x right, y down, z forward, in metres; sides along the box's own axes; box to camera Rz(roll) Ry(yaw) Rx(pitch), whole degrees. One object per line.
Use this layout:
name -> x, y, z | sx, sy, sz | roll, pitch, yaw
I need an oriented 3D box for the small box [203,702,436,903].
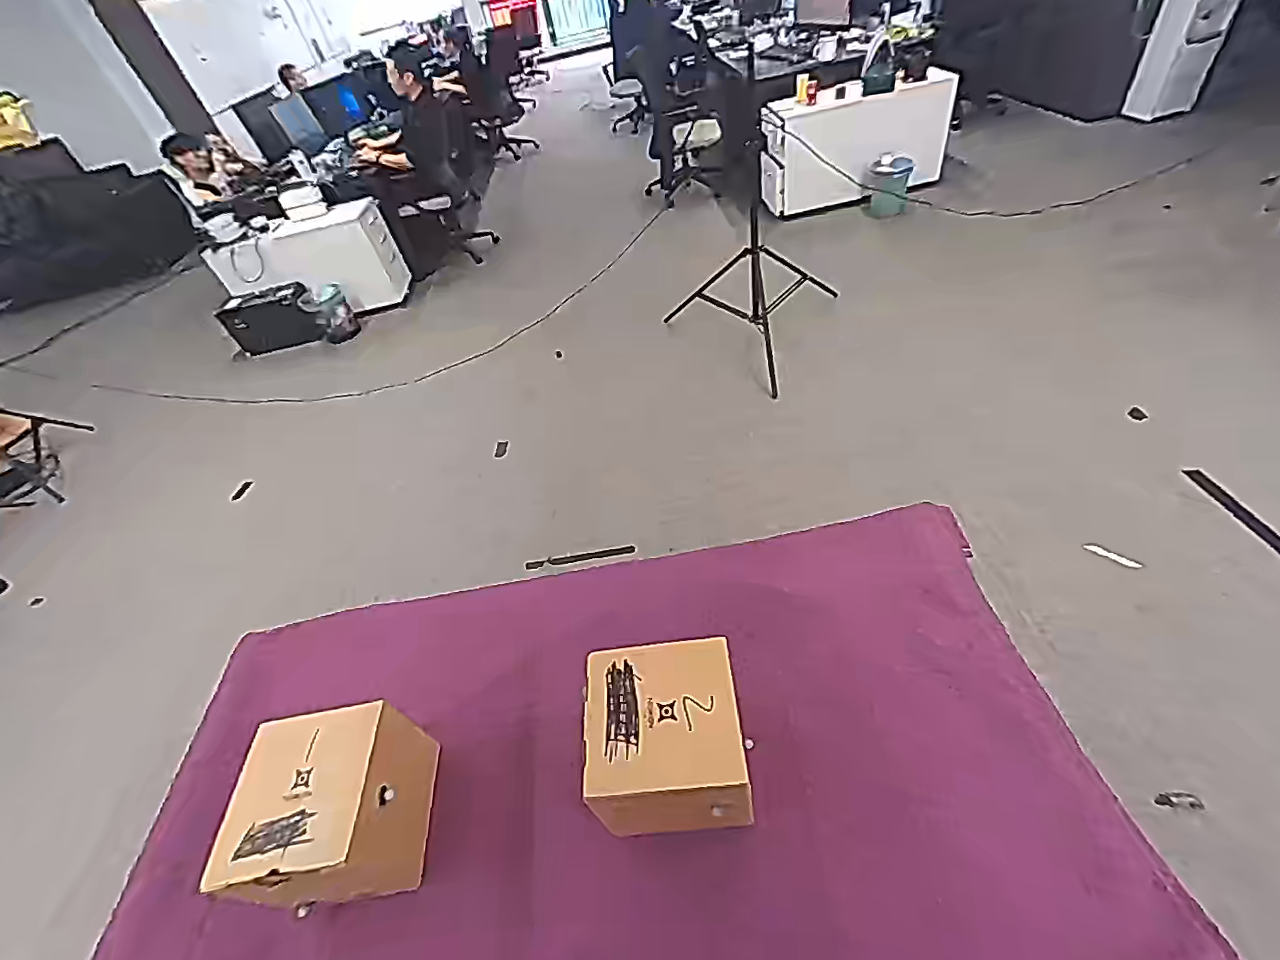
small box -> -0.378, 0.410, 0.680 | 0.168, 0.176, 0.179 | -11, 44, 2
